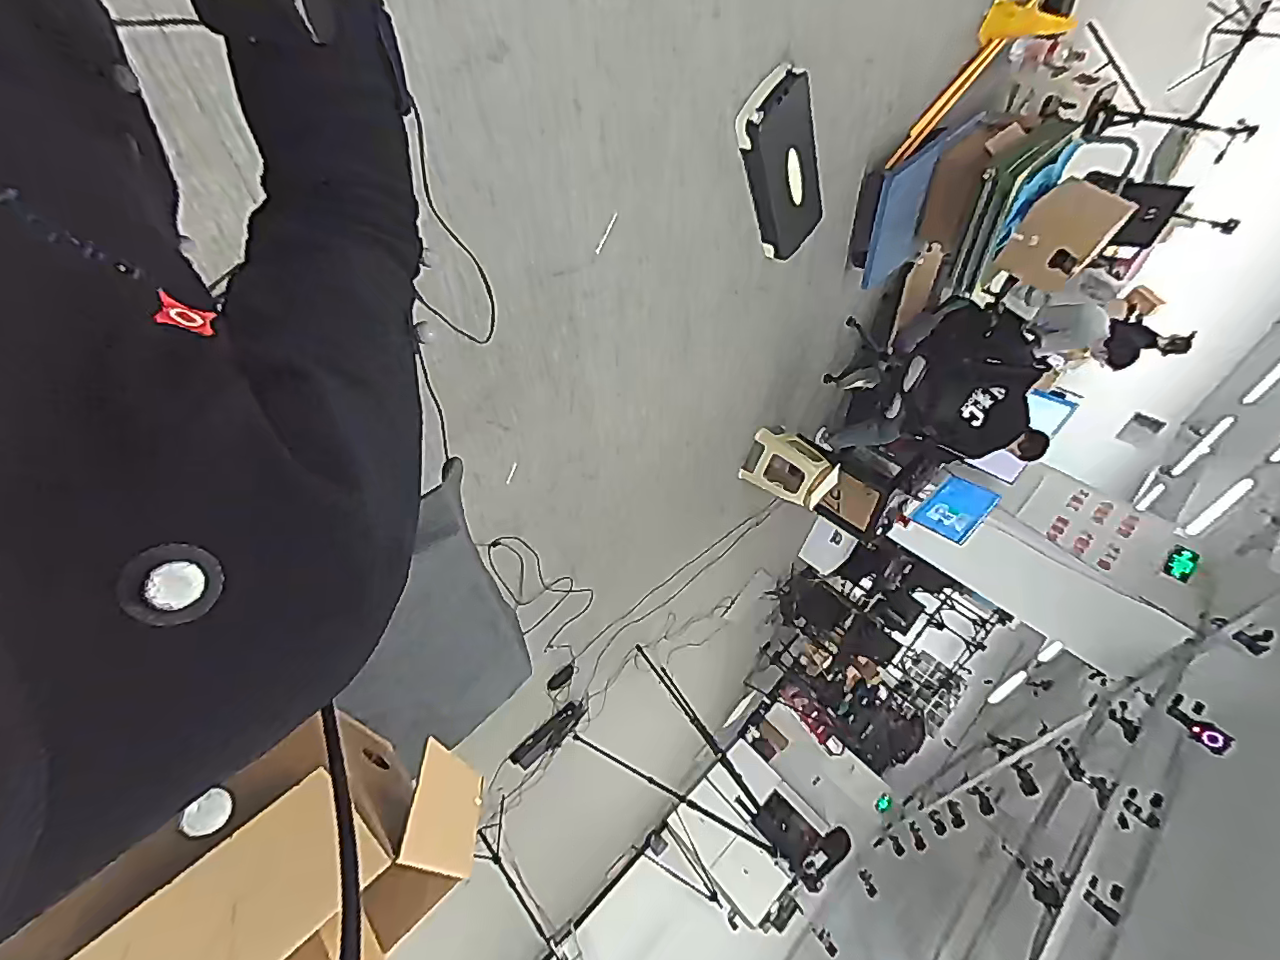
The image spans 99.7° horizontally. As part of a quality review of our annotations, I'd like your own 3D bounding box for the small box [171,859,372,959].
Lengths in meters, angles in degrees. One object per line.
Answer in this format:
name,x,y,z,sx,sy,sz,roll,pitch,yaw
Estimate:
small box,-0.499,0.670,0.738,0.179,0.176,0.168,-36,146,-25
